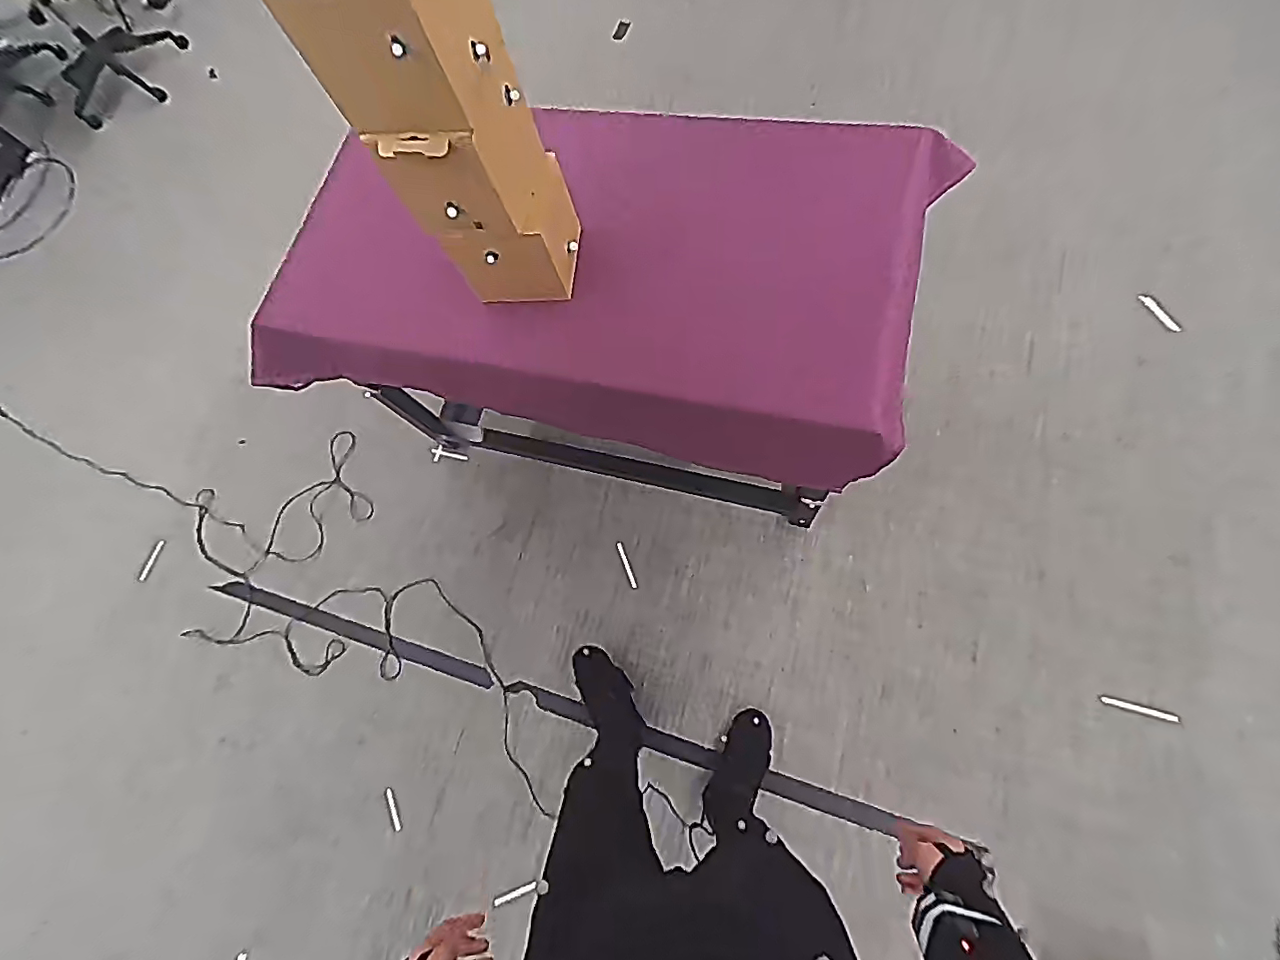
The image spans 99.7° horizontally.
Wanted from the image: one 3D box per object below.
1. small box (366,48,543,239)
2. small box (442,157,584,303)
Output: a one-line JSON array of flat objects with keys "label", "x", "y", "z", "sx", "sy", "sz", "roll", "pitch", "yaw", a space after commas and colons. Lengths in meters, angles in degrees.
[{"label": "small box", "x": -0.256, "y": -0.489, "z": 0.798, "sx": 0.168, "sy": 0.176, "sz": 0.179, "roll": 7, "pitch": 73, "yaw": 13}, {"label": "small box", "x": -0.211, "y": -0.427, "z": 0.945, "sx": 0.179, "sy": 0.176, "sz": 0.168, "roll": 3, "pitch": 72, "yaw": 10}]
